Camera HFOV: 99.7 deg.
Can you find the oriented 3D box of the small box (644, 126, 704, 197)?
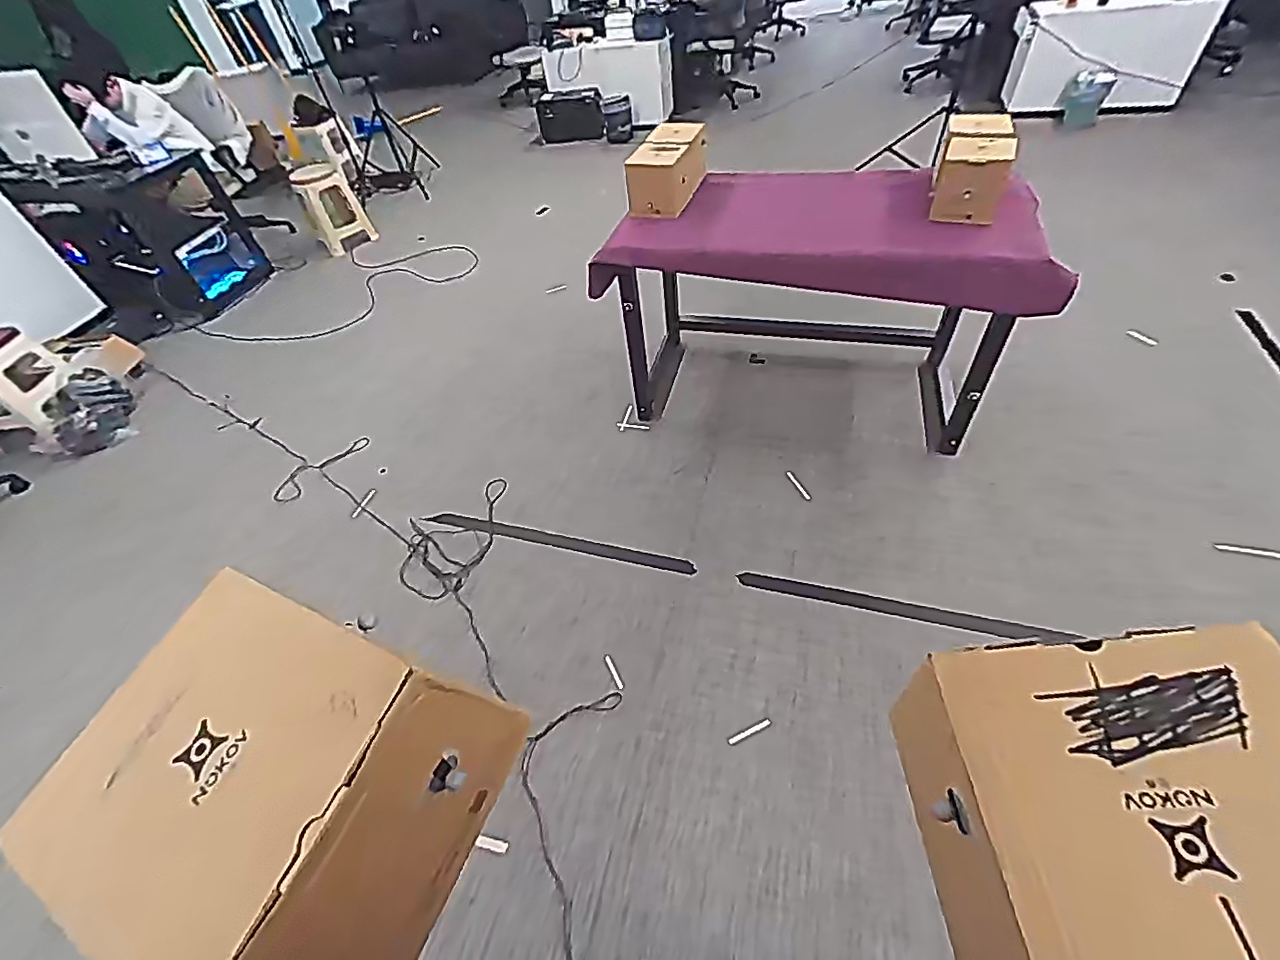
[{"bbox_3d":[0.124,-1.117,1.896,0.168,0.176,0.179,12,52,18],"label":"small box"}]

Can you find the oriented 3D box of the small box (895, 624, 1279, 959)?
[{"bbox_3d":[0.267,0.203,0.316,0.168,0.176,0.179,-9,55,10],"label":"small box"}]

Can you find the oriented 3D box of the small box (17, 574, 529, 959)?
[{"bbox_3d":[-0.201,0.189,0.349,0.179,0.176,0.168,15,62,23],"label":"small box"}]

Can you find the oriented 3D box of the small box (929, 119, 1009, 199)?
[{"bbox_3d":[1.000,-0.984,1.655,0.168,0.176,0.179,12,50,17],"label":"small box"}]
